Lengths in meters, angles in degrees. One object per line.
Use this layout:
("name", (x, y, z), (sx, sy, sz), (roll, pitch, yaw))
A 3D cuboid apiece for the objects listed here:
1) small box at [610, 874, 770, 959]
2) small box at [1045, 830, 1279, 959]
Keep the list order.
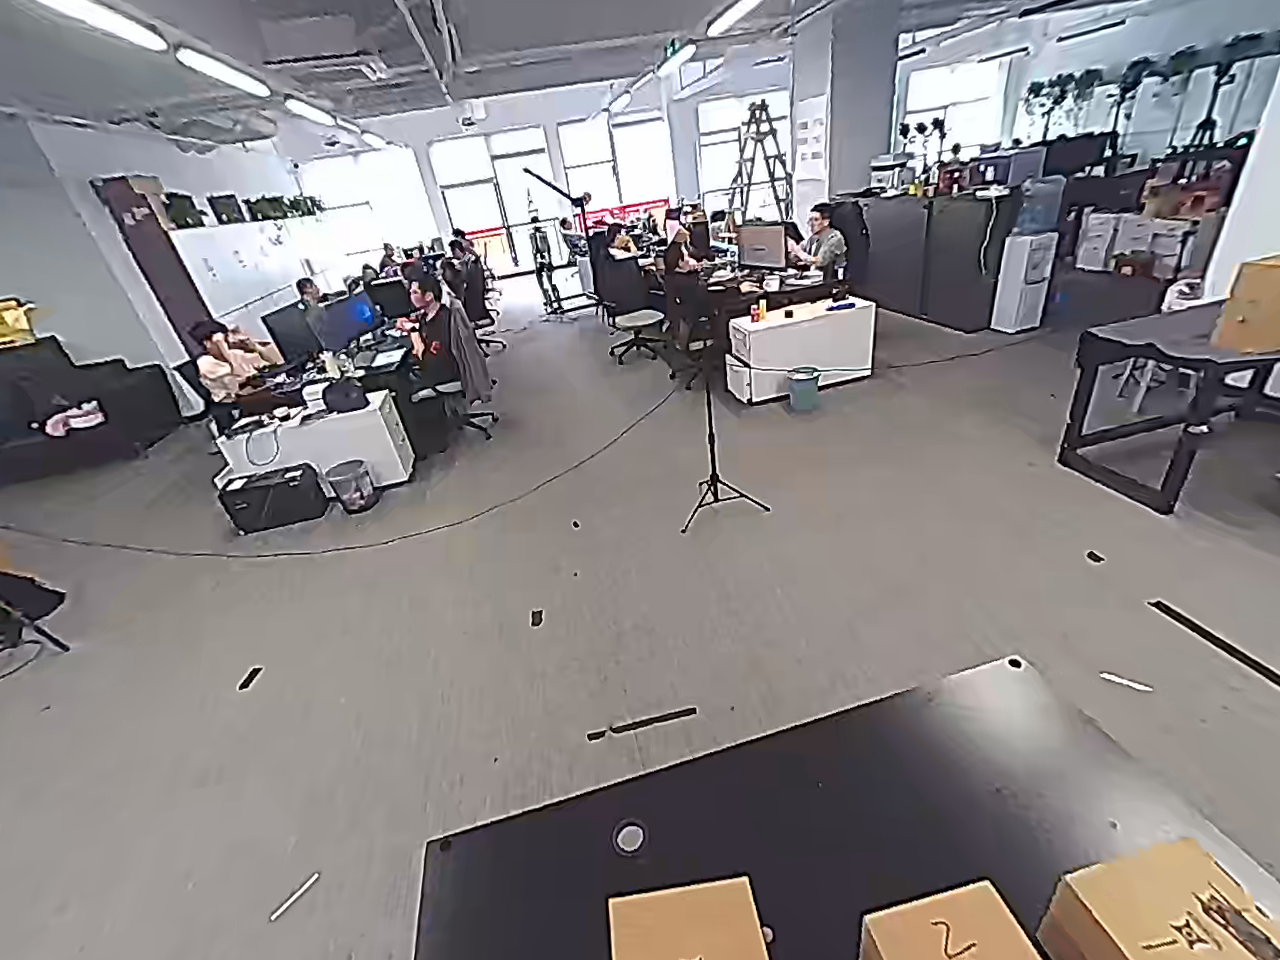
("small box", (0.059, 0.578, 0.591), (0.168, 0.176, 0.179), (-7, 33, -4))
("small box", (0.621, 0.556, 0.629), (0.179, 0.176, 0.168), (-14, 29, -5))
